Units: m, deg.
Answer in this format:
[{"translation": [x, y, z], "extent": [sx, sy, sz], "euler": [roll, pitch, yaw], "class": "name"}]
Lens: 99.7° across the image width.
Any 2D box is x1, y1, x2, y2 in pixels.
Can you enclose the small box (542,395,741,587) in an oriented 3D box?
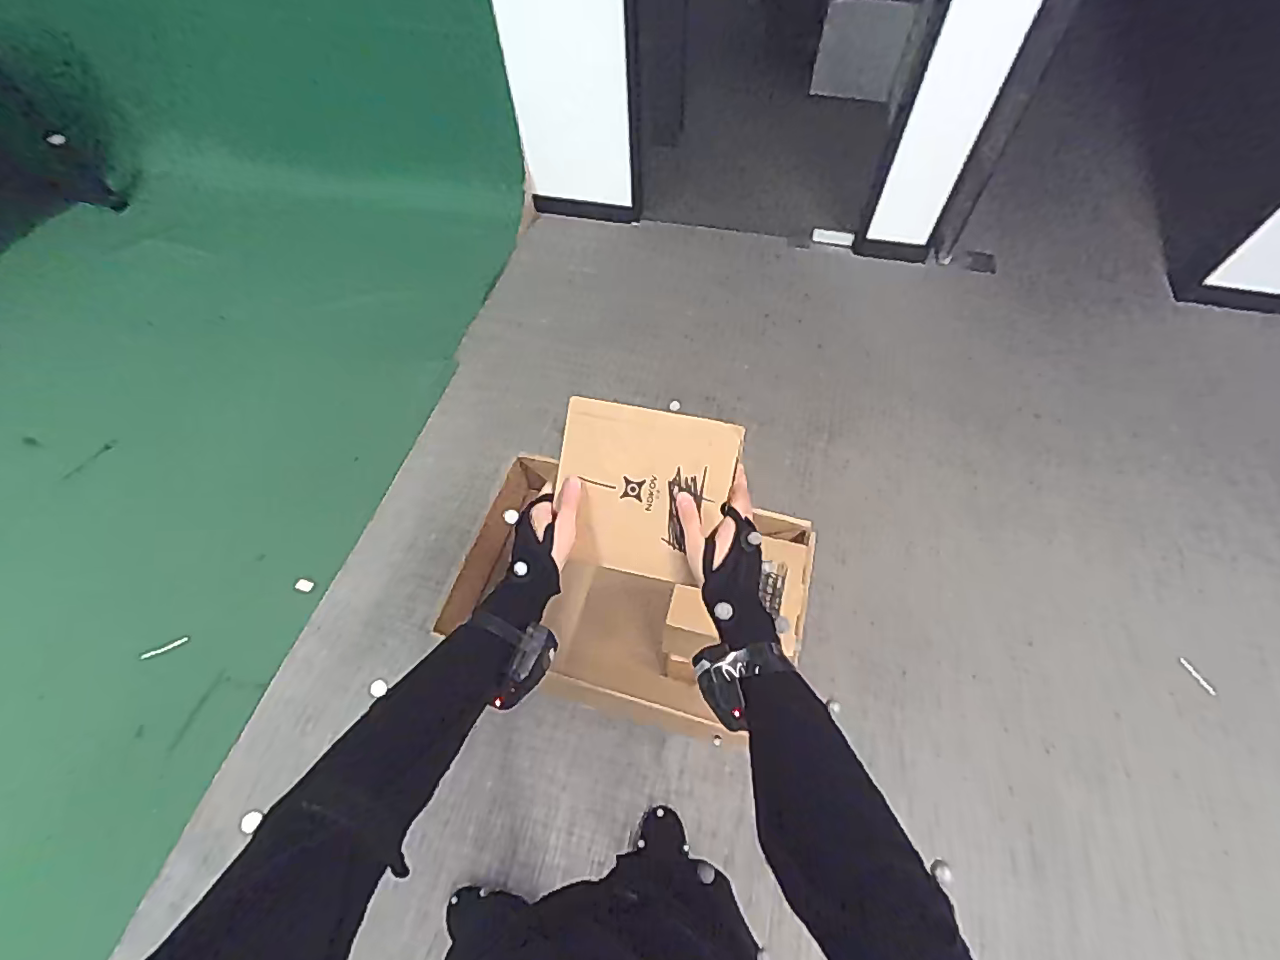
[{"translation": [0.010, 0.002, 0.609], "extent": [0.179, 0.176, 0.168], "euler": [11, 97, 9], "class": "small box"}]
